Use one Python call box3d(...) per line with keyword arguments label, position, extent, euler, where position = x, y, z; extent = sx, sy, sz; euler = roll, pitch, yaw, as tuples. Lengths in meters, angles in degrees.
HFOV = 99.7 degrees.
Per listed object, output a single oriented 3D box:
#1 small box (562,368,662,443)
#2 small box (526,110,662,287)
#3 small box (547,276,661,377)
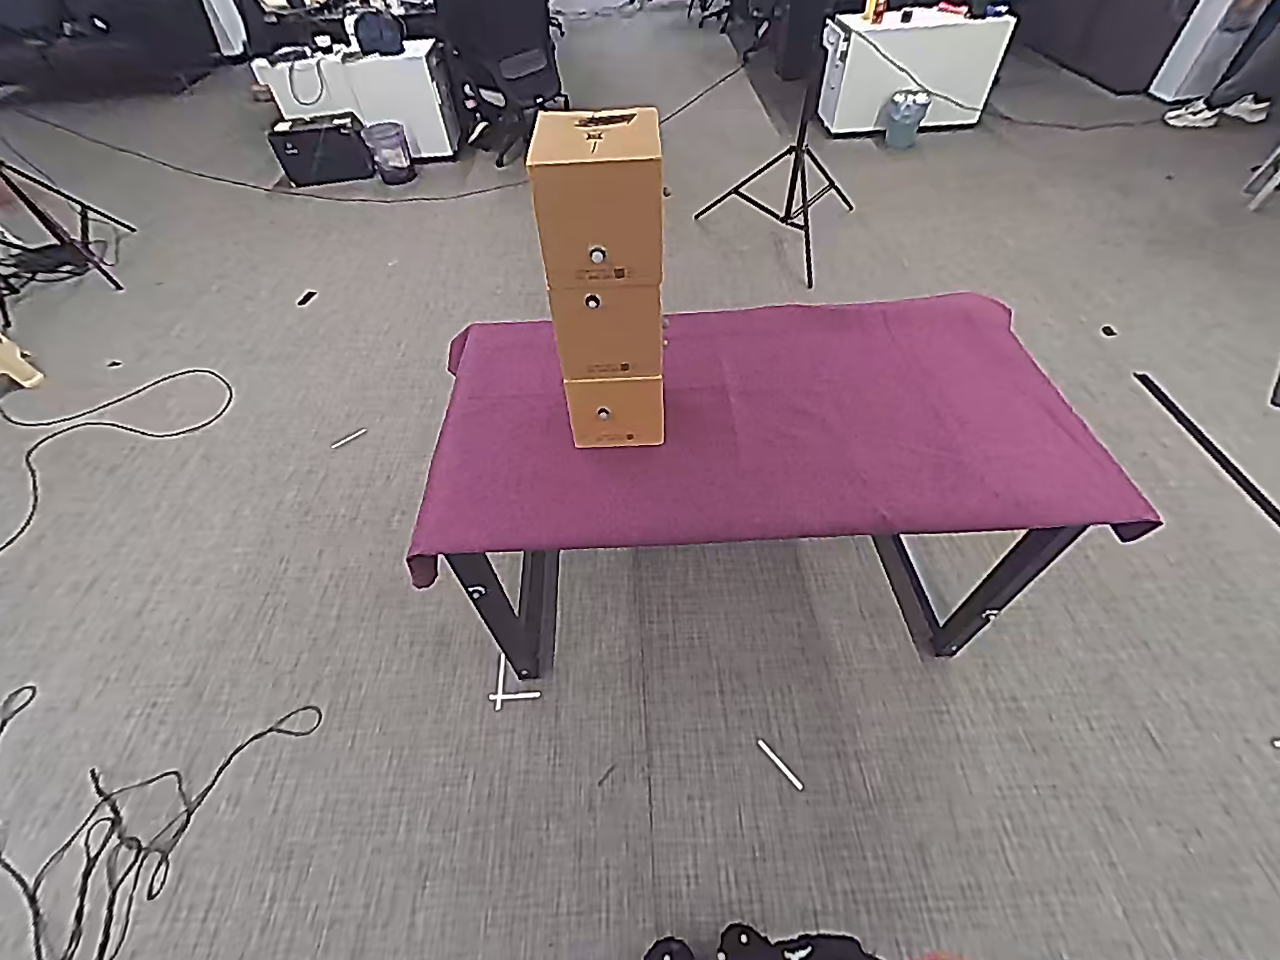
box3d(label="small box", position=(-0.045, -0.180, 1.009), extent=(0.168, 0.176, 0.179), euler=(-2, 50, 1))
box3d(label="small box", position=(-0.054, -0.392, 0.758), extent=(0.168, 0.176, 0.179), euler=(-2, 51, 1))
box3d(label="small box", position=(-0.052, -0.289, 0.887), extent=(0.168, 0.176, 0.179), euler=(-3, 50, 1))
